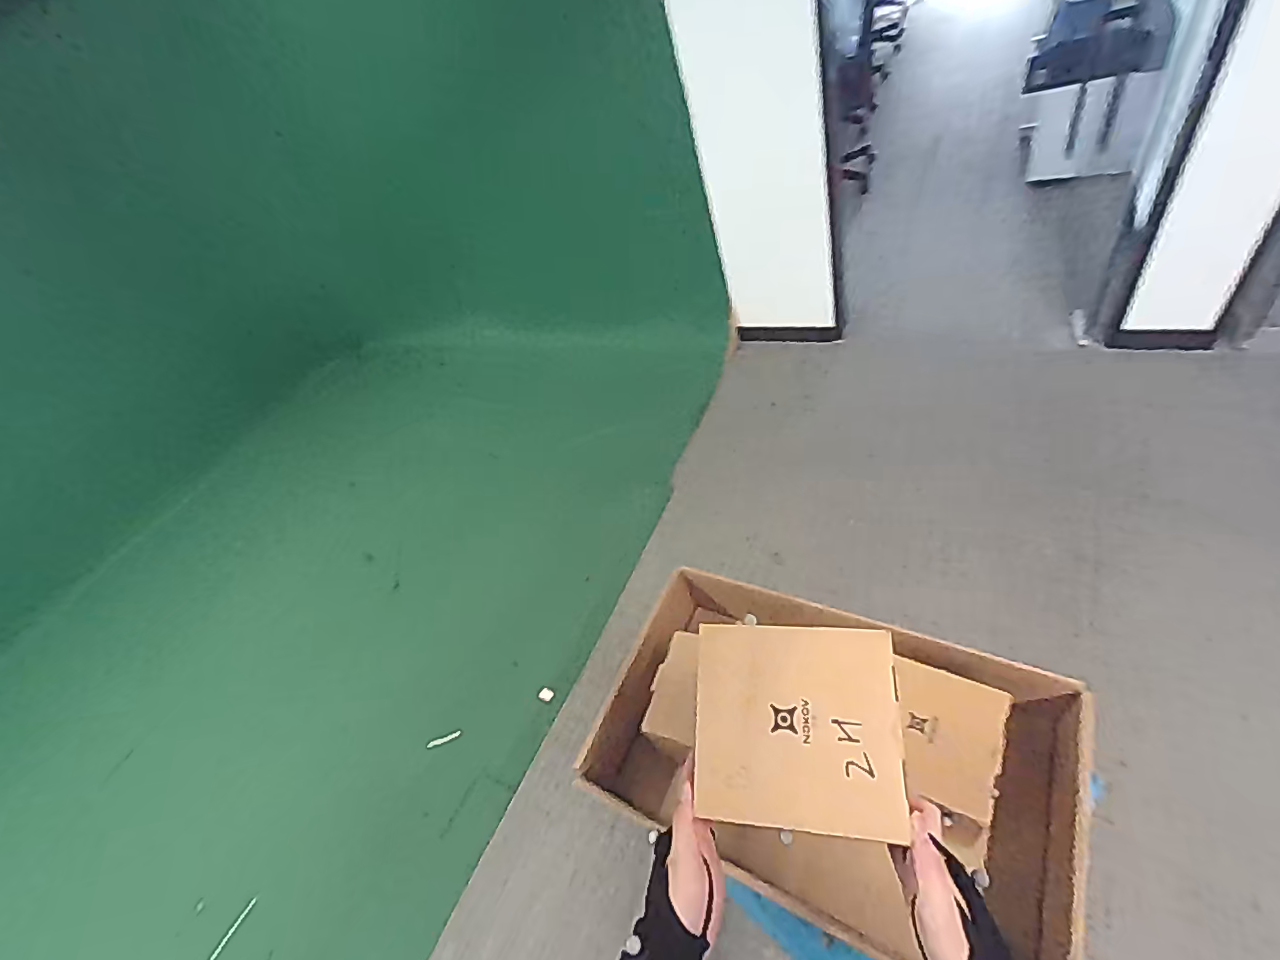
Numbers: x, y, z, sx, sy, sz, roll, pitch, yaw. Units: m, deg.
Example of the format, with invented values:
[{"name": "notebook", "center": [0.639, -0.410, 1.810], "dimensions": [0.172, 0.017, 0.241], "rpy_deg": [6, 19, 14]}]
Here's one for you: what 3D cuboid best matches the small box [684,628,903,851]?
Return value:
[{"name": "small box", "center": [0.148, 0.249, 0.542], "dimensions": [0.179, 0.176, 0.168], "rpy_deg": [-2, 65, 15]}]
